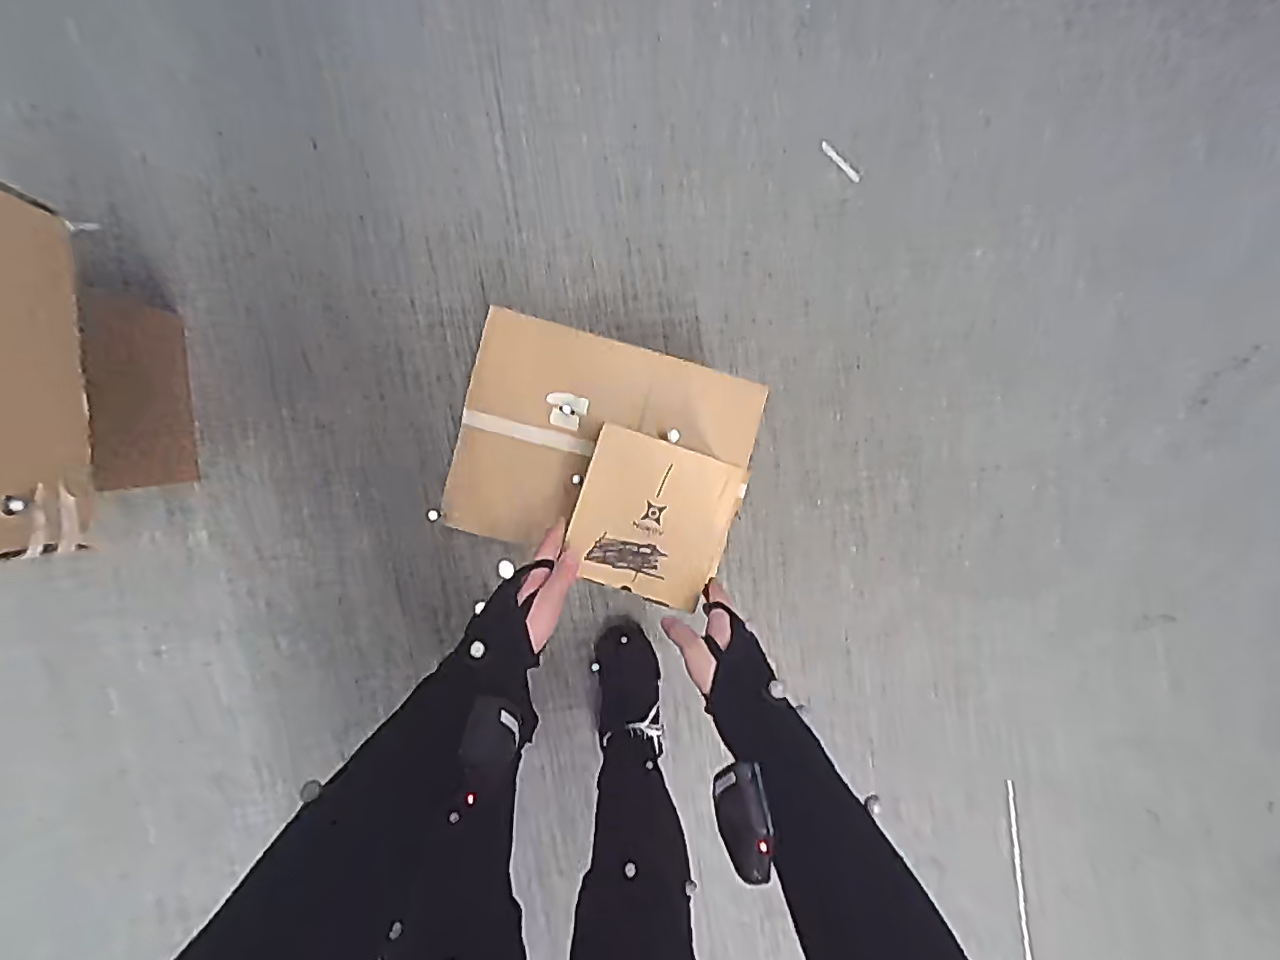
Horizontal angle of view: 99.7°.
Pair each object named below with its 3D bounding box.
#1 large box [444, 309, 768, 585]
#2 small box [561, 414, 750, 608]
[{"bbox_3d":[-0.051,-0.053,0.905,0.408,0.320,0.320,15,93,-4],"label":"large box"},{"bbox_3d":[0.014,0.028,0.668,0.168,0.176,0.179,19,94,-5],"label":"small box"}]
